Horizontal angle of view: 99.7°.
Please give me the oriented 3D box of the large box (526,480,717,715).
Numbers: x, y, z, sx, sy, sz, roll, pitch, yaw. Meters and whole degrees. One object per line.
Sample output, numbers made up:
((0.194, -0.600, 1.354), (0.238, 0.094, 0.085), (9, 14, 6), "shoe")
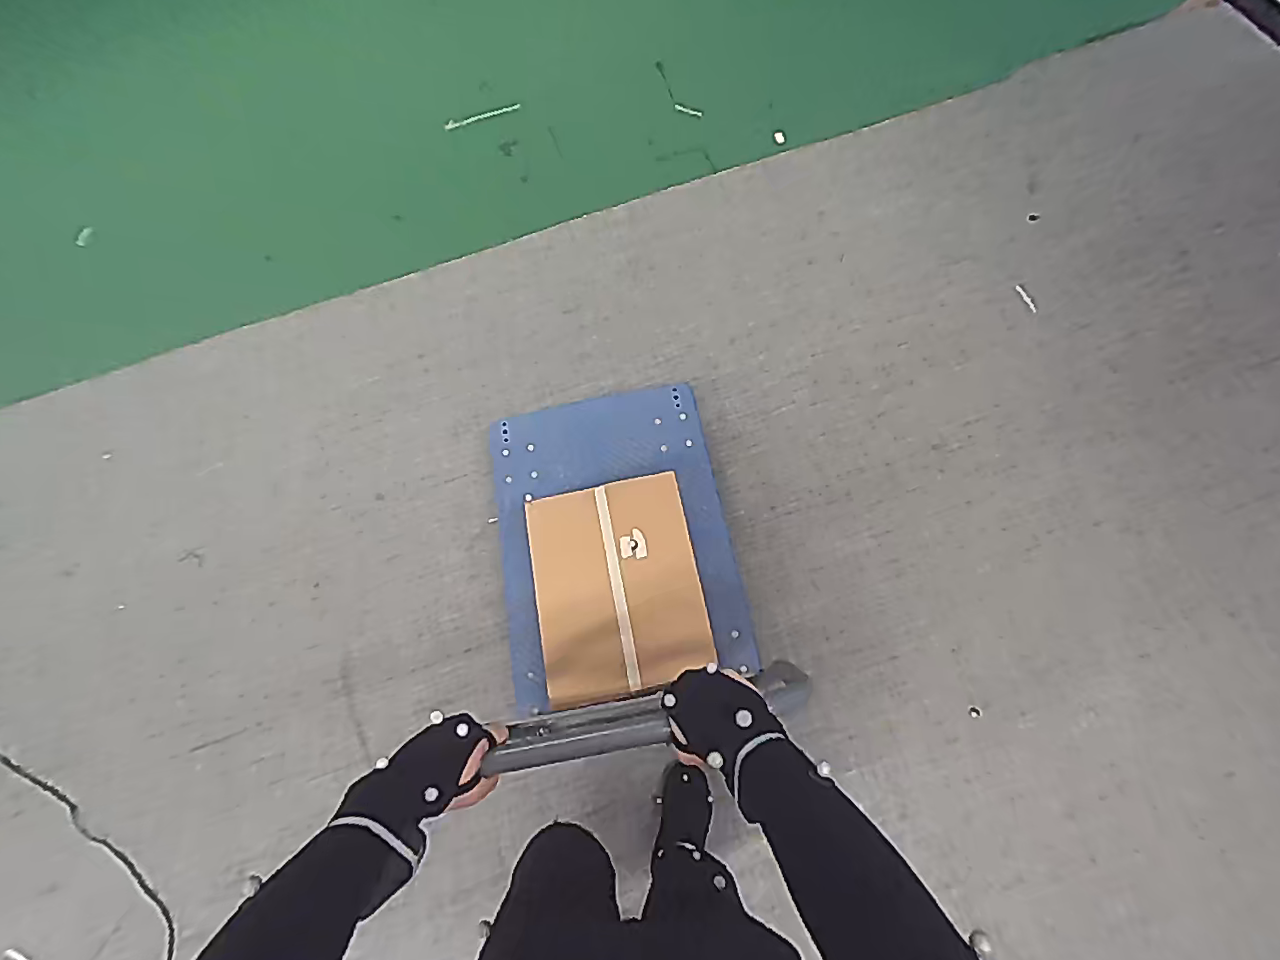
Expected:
((-0.035, 0.264, 1.181), (0.320, 0.320, 0.408), (-11, 69, -1), "large box")
